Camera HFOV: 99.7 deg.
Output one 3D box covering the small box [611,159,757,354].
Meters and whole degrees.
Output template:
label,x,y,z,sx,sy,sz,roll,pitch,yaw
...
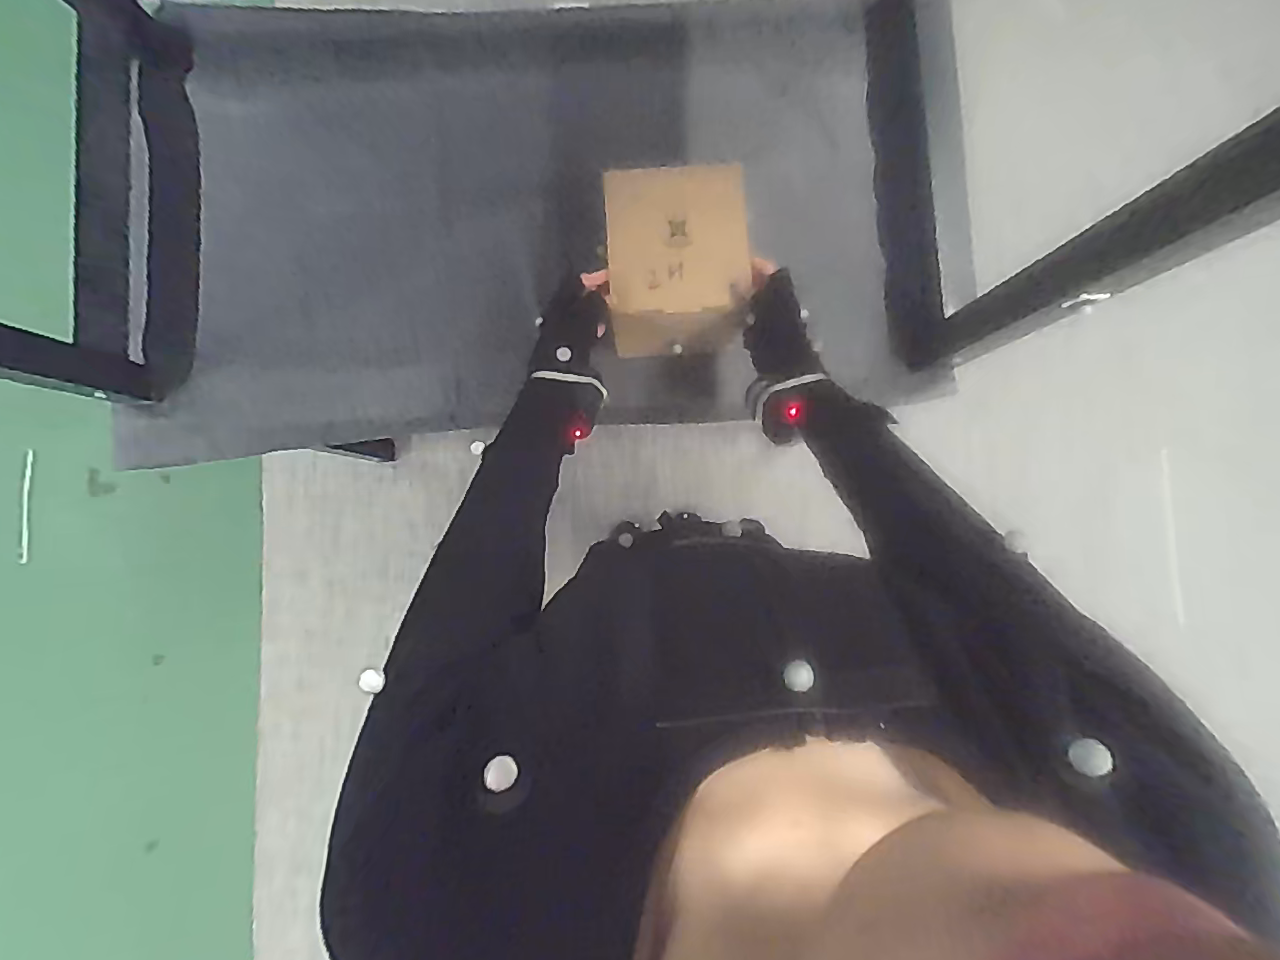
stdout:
label,x,y,z,sx,sy,sz,roll,pitch,yaw
small box,0.049,-0.277,0.701,0.168,0.176,0.179,-3,85,1
